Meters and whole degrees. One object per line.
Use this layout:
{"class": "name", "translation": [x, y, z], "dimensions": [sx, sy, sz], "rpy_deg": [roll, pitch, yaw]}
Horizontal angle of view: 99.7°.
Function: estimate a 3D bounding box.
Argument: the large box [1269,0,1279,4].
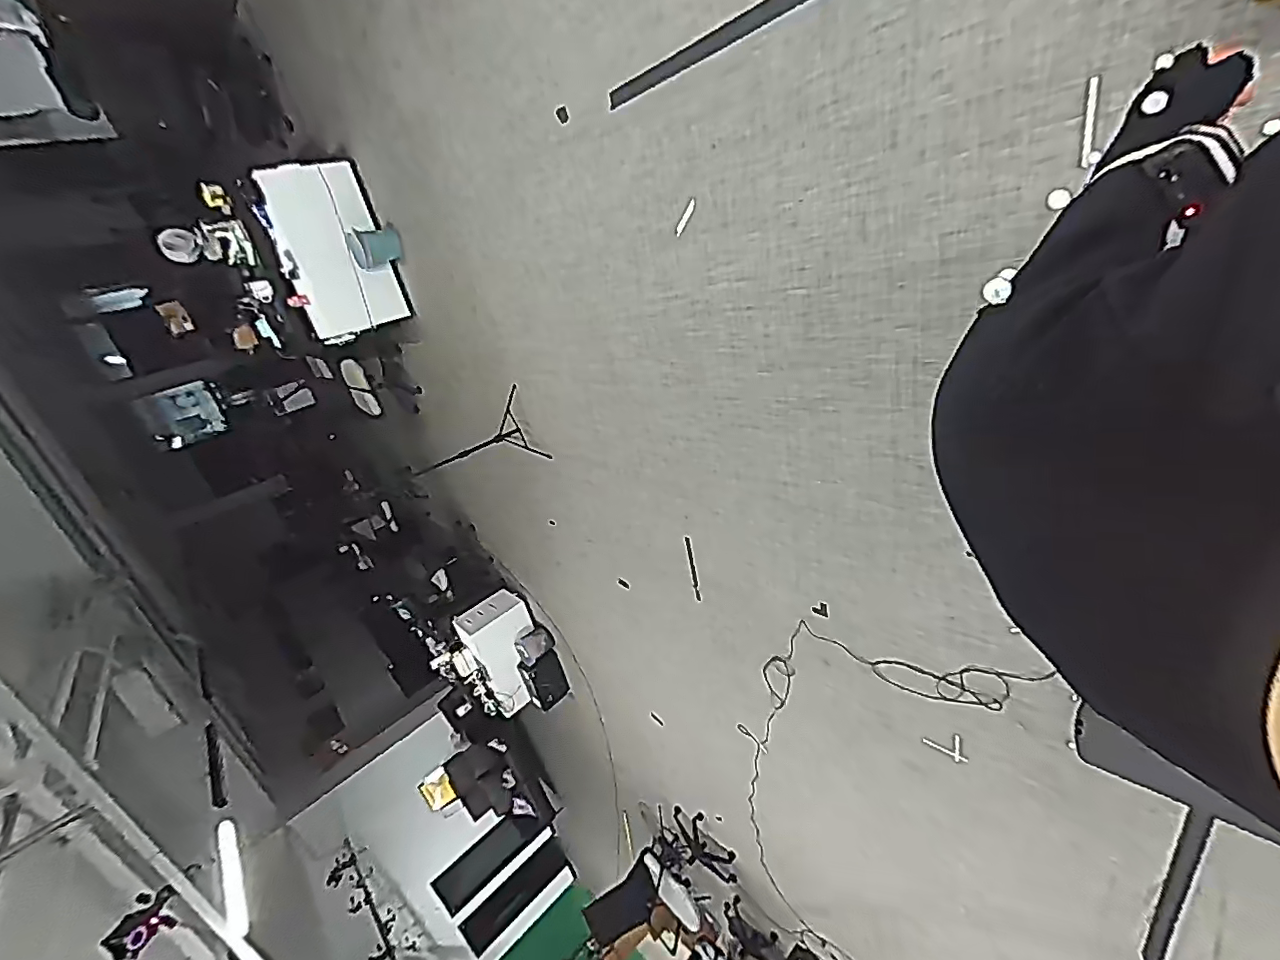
{"class": "large box", "translation": [0.980, -0.781, 0.561], "dimensions": [0.408, 0.320, 0.320], "rpy_deg": [14, 127, 46]}
